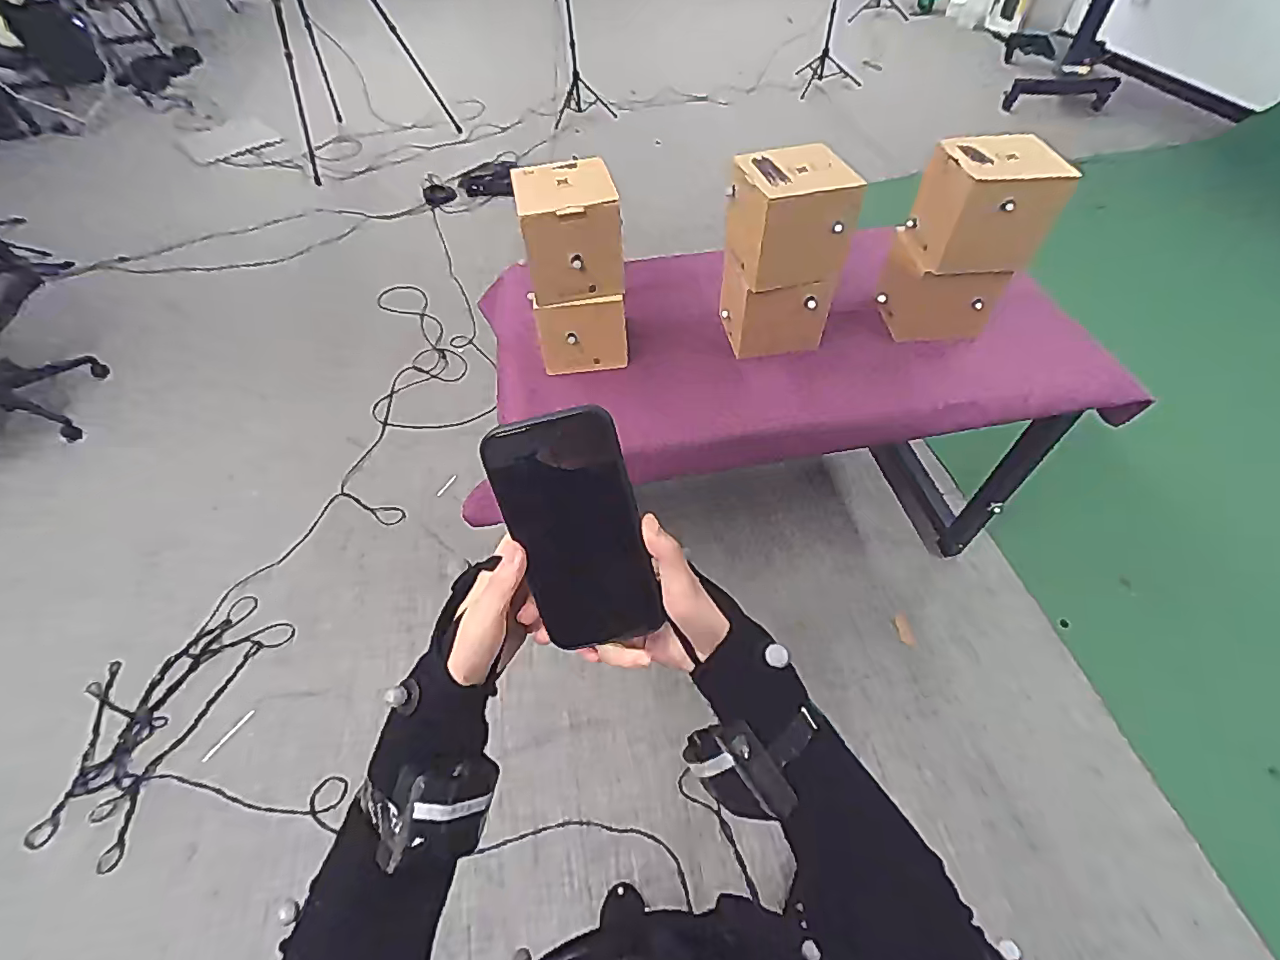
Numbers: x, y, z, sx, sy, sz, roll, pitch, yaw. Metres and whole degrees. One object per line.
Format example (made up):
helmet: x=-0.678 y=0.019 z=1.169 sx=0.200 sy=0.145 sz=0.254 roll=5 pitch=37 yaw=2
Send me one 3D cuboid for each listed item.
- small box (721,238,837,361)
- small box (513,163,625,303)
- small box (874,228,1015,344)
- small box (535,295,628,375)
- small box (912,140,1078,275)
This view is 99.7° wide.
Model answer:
small box: x=0.273 y=-0.364 z=1.103 sx=0.179 sy=0.176 sz=0.168 roll=-7 pitch=52 yaw=-3
small box: x=-0.125 y=-0.435 z=0.973 sx=0.168 sy=0.176 sz=0.179 roll=-11 pitch=53 yaw=-6
small box: x=0.612 y=-0.397 z=1.112 sx=0.179 sy=0.176 sz=0.168 roll=-3 pitch=52 yaw=1
small box: x=-0.116 y=-0.329 z=1.098 sx=0.168 sy=0.176 sz=0.179 roll=-7 pitch=52 yaw=-2
small box: x=0.616 y=-0.486 z=0.974 sx=0.179 sy=0.176 sz=0.168 roll=-3 pitch=52 yaw=0
